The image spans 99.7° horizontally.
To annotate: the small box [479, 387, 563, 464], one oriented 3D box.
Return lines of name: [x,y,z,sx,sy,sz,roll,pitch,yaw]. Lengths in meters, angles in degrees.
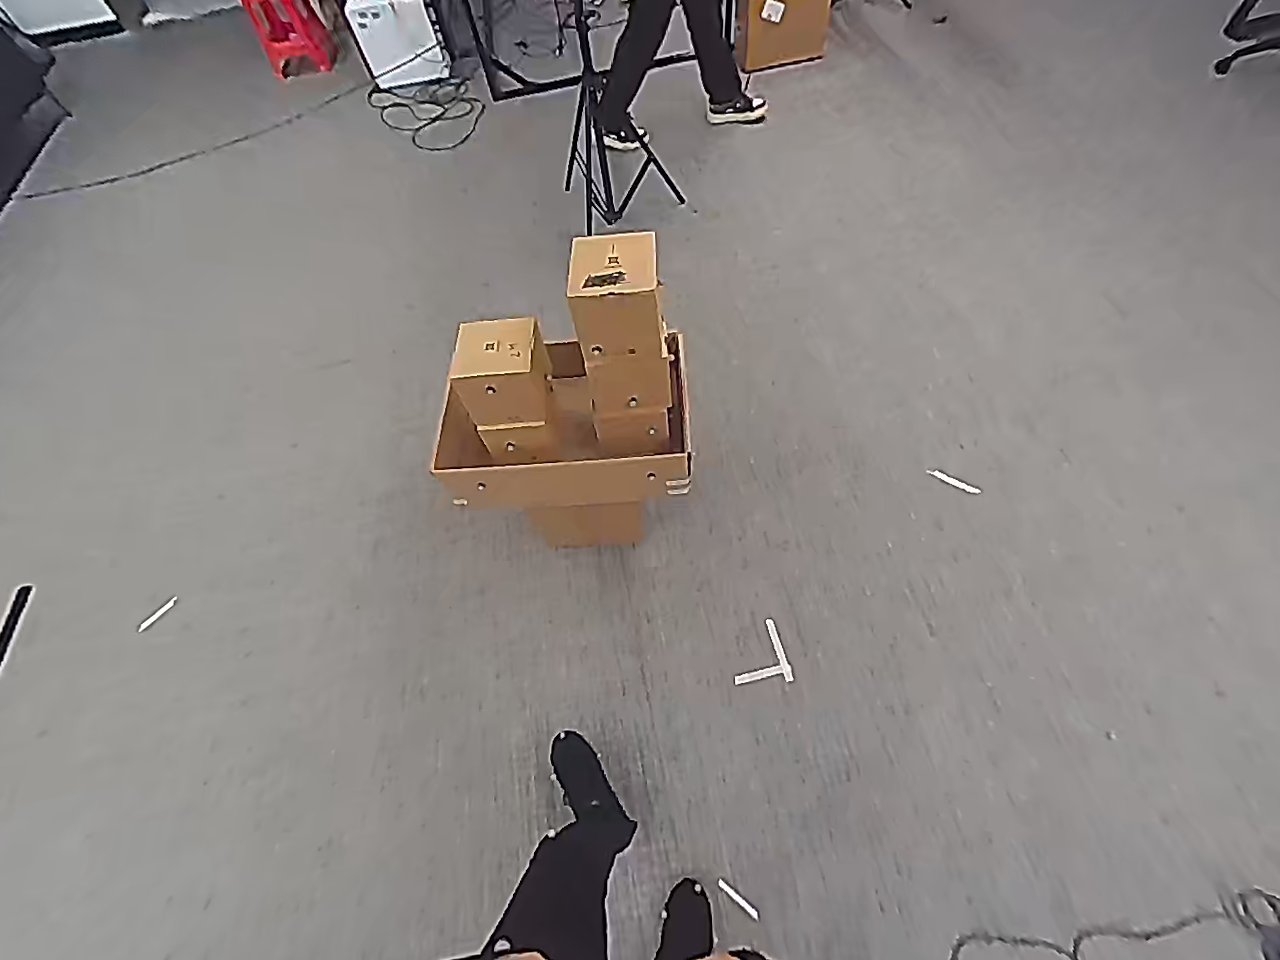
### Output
small box: [-0.293,-0.151,1.372,0.168,0.176,0.179,-5,59,3]

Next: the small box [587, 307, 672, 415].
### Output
small box: [-0.021,-0.265,1.213,0.179,0.176,0.168,-5,59,2]

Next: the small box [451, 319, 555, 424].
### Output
small box: [-0.304,-0.242,1.235,0.179,0.176,0.168,-3,59,4]

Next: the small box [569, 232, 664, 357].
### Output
small box: [-0.038,-0.361,1.079,0.168,0.176,0.179,-2,59,5]
